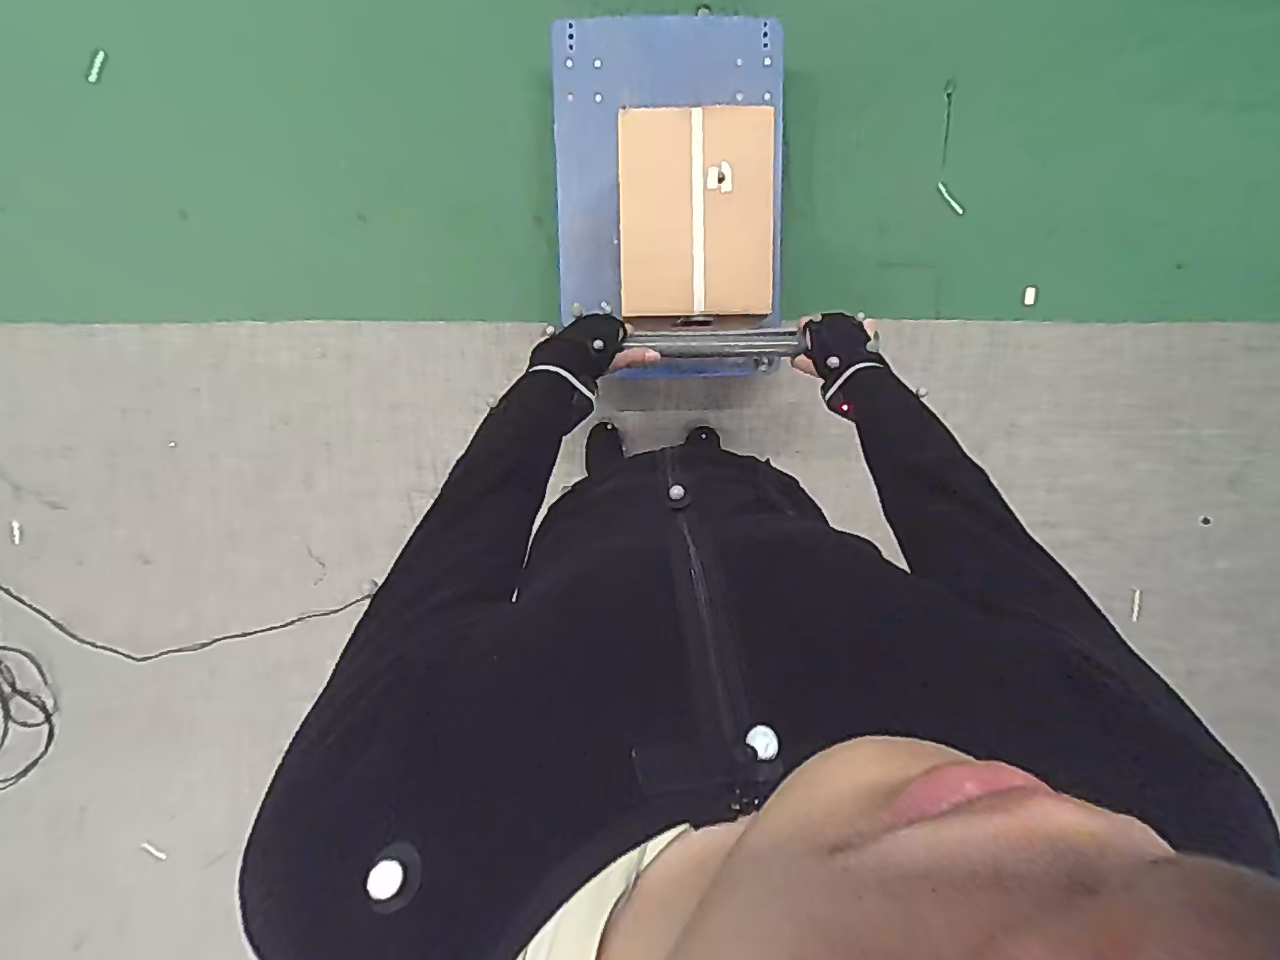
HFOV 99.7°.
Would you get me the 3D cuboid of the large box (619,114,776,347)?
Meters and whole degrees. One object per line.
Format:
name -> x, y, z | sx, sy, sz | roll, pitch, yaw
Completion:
large box -> 0.117, -0.533, 1.233 | 0.320, 0.320, 0.408 | -1, 95, -2
